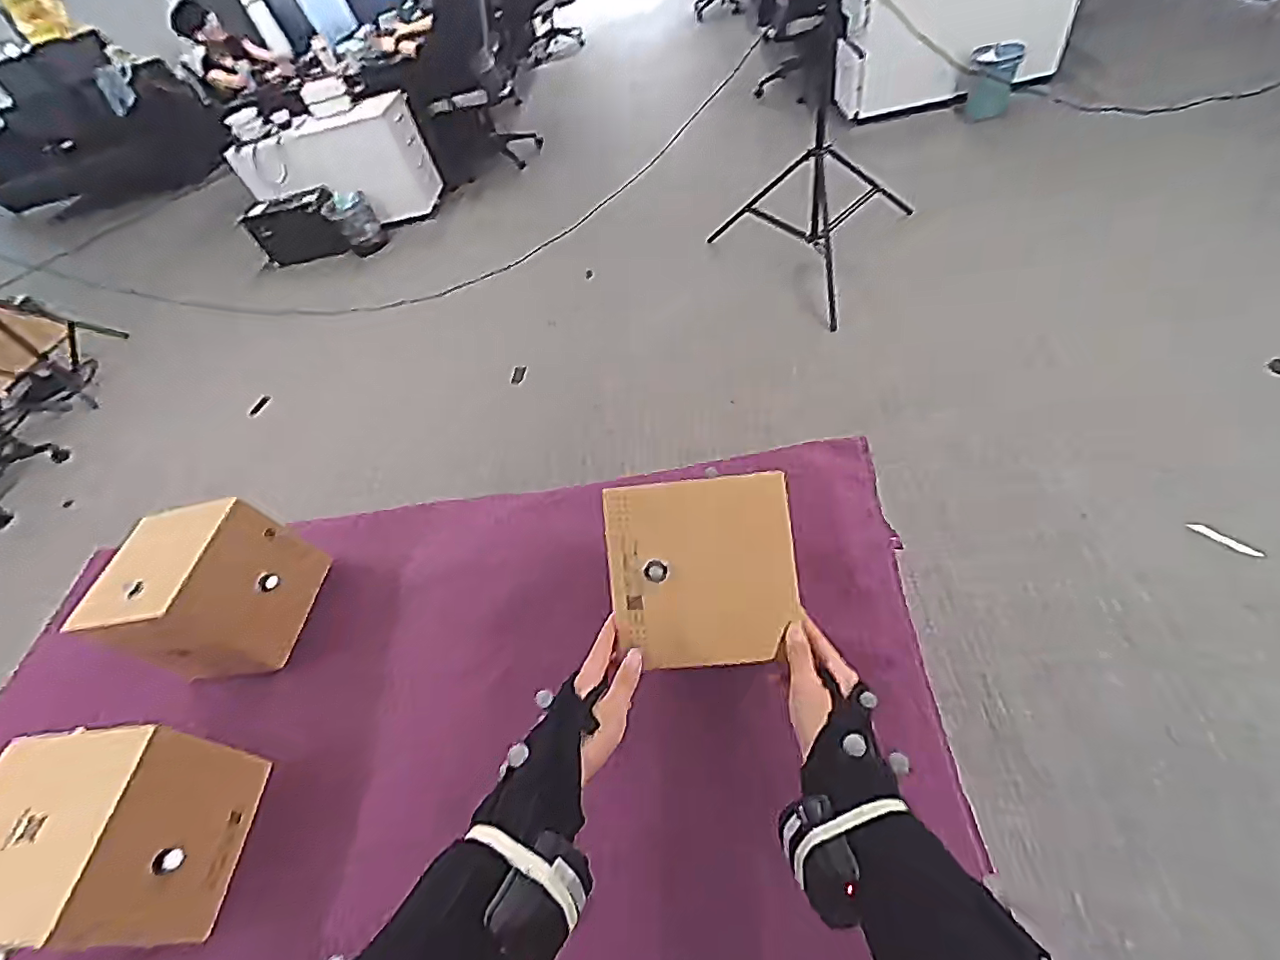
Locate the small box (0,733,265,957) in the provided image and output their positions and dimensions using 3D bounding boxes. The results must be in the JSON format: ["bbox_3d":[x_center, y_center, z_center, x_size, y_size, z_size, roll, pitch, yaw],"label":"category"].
[{"bbox_3d":[-0.534,0.368,0.544,0.179,0.176,0.168,-9,50,8],"label":"small box"}]

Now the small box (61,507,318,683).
[{"bbox_3d":[-0.564,0.151,0.712,0.179,0.168,0.176,-10,48,16],"label":"small box"}]
